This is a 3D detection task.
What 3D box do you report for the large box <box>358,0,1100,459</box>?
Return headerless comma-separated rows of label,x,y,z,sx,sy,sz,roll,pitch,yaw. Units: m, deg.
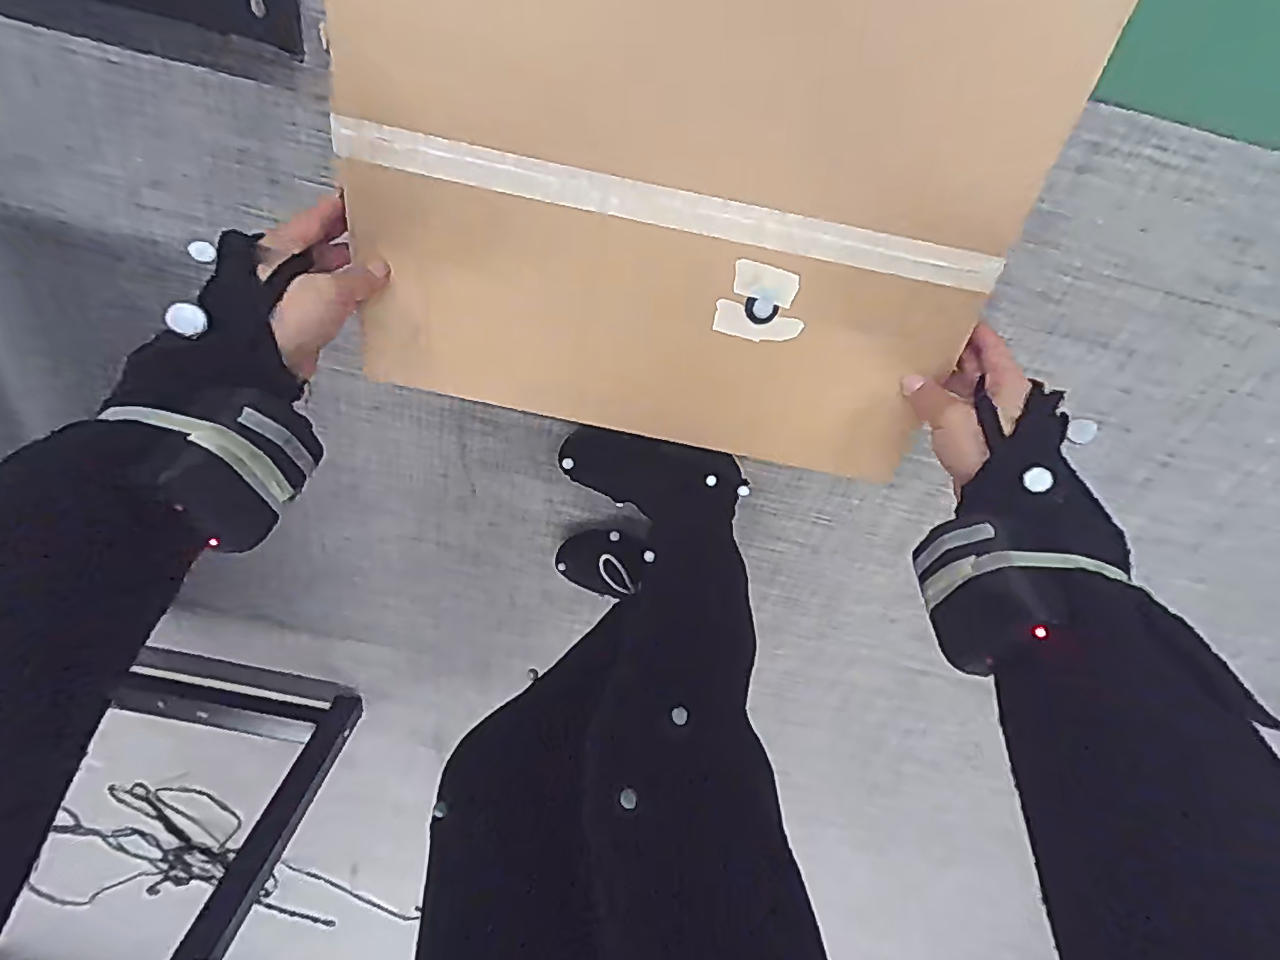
large box,0.033,-0.250,0.470,0.408,0.320,0.320,10,121,-2
